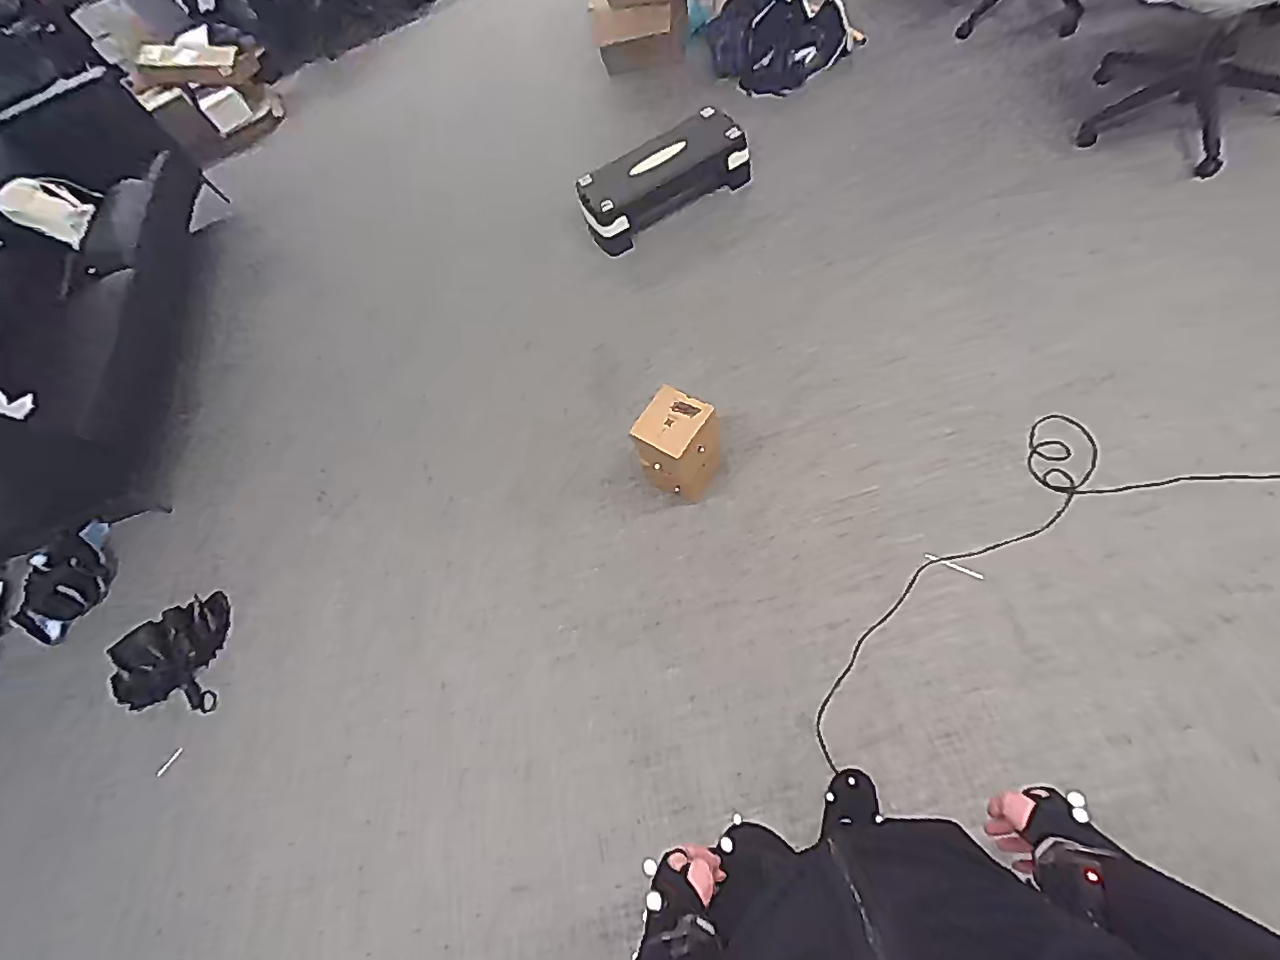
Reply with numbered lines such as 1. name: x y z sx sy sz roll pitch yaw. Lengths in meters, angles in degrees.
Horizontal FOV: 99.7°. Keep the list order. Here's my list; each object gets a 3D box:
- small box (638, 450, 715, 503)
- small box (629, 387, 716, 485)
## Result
1. small box: 0.120 -0.055 1.646 0.168 0.176 0.179 23 71 23
2. small box: 0.097 -0.117 1.495 0.168 0.176 0.179 31 76 25
